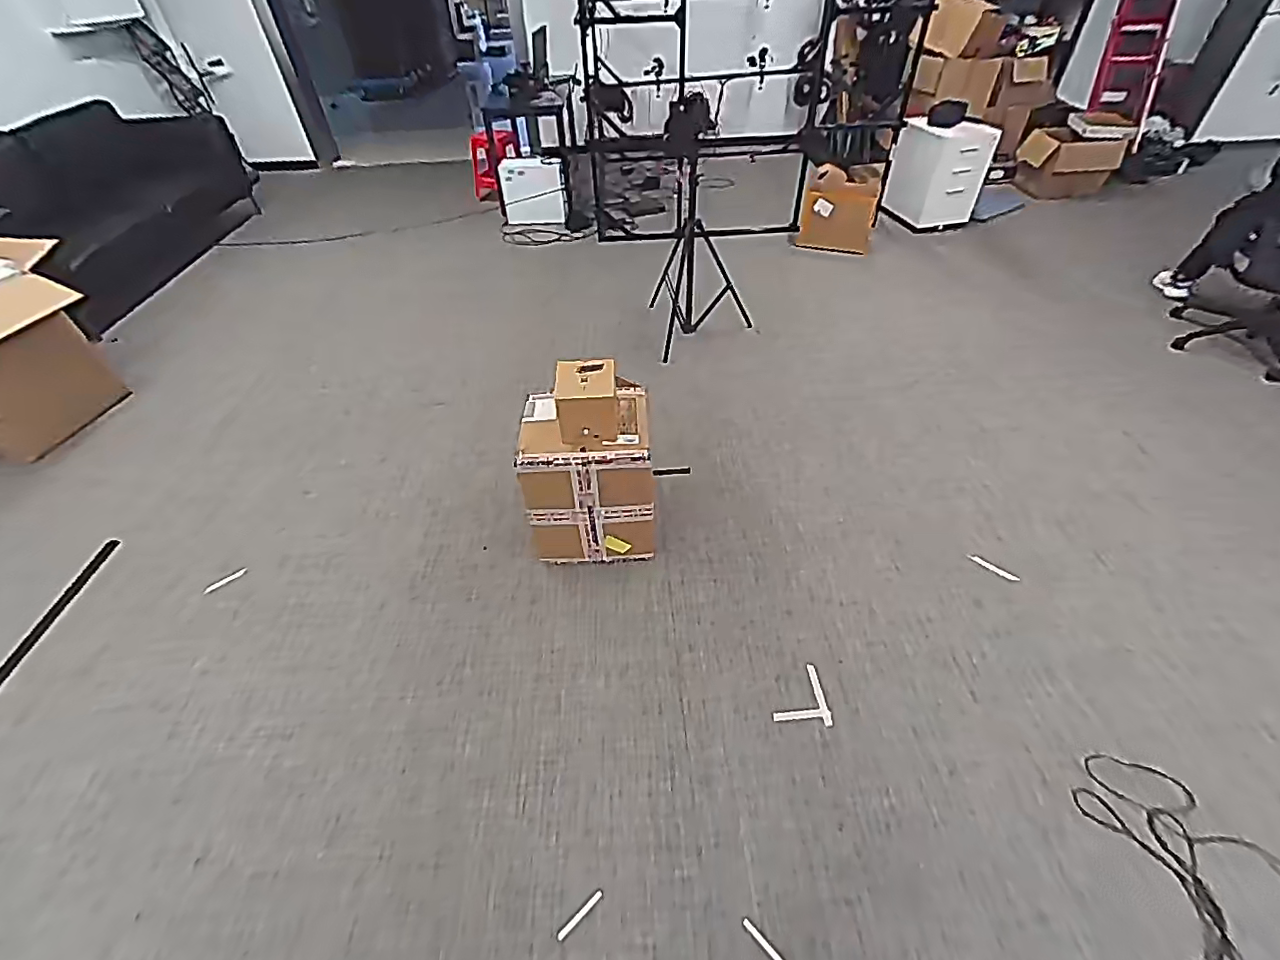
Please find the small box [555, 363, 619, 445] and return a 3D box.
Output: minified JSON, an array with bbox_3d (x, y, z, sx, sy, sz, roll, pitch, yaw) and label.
[{"bbox_3d":[-0.151,-0.221,1.583,0.168,0.176,0.179,-3,48,0],"label":"small box"}]
